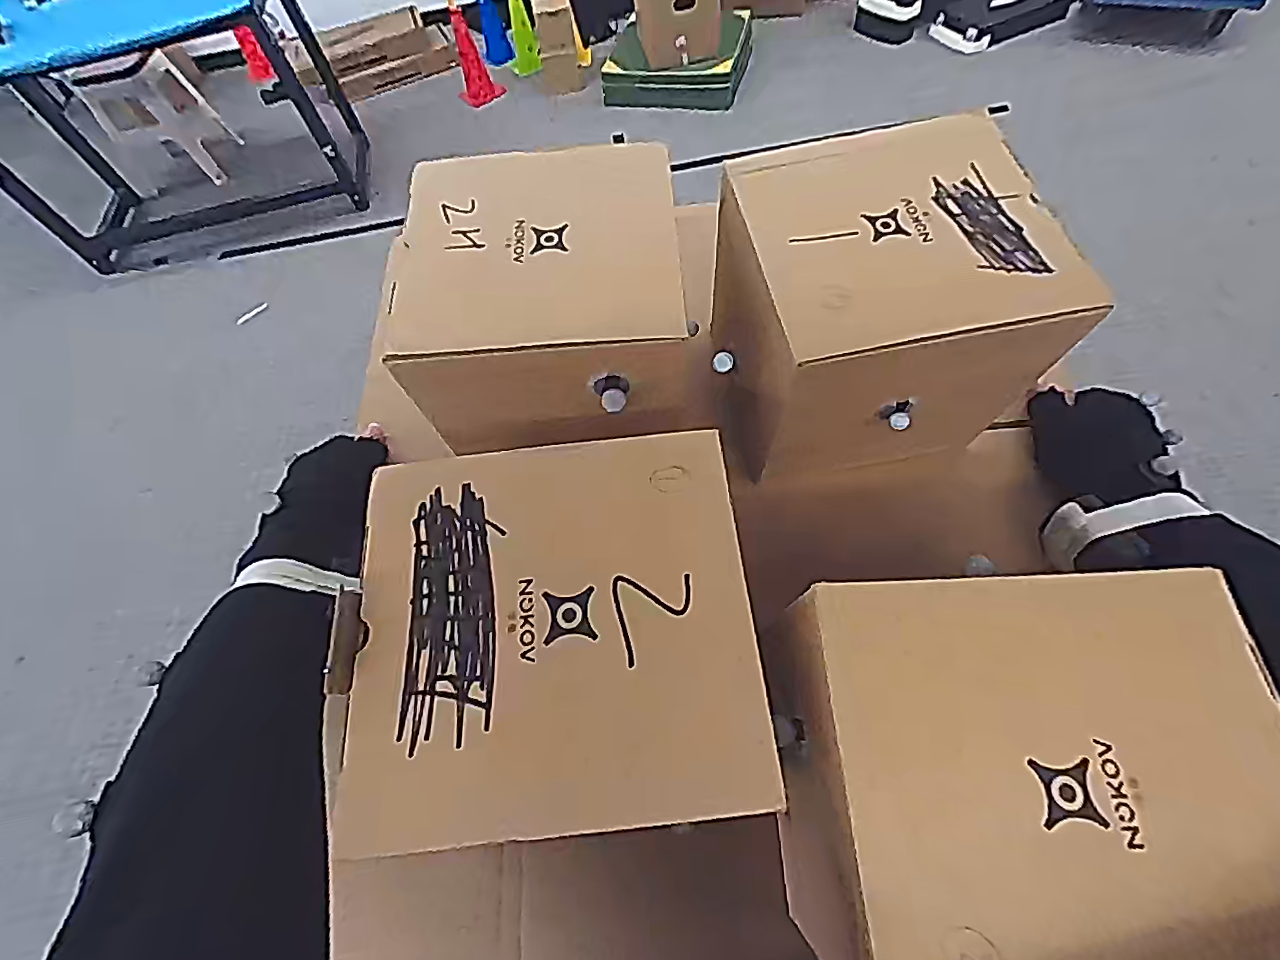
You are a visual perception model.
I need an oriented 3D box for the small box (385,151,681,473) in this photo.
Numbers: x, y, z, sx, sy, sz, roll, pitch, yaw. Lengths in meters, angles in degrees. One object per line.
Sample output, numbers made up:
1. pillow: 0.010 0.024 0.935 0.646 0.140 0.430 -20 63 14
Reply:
1. small box: -0.062 -0.115 0.418 0.179 0.176 0.168 -4 65 3
